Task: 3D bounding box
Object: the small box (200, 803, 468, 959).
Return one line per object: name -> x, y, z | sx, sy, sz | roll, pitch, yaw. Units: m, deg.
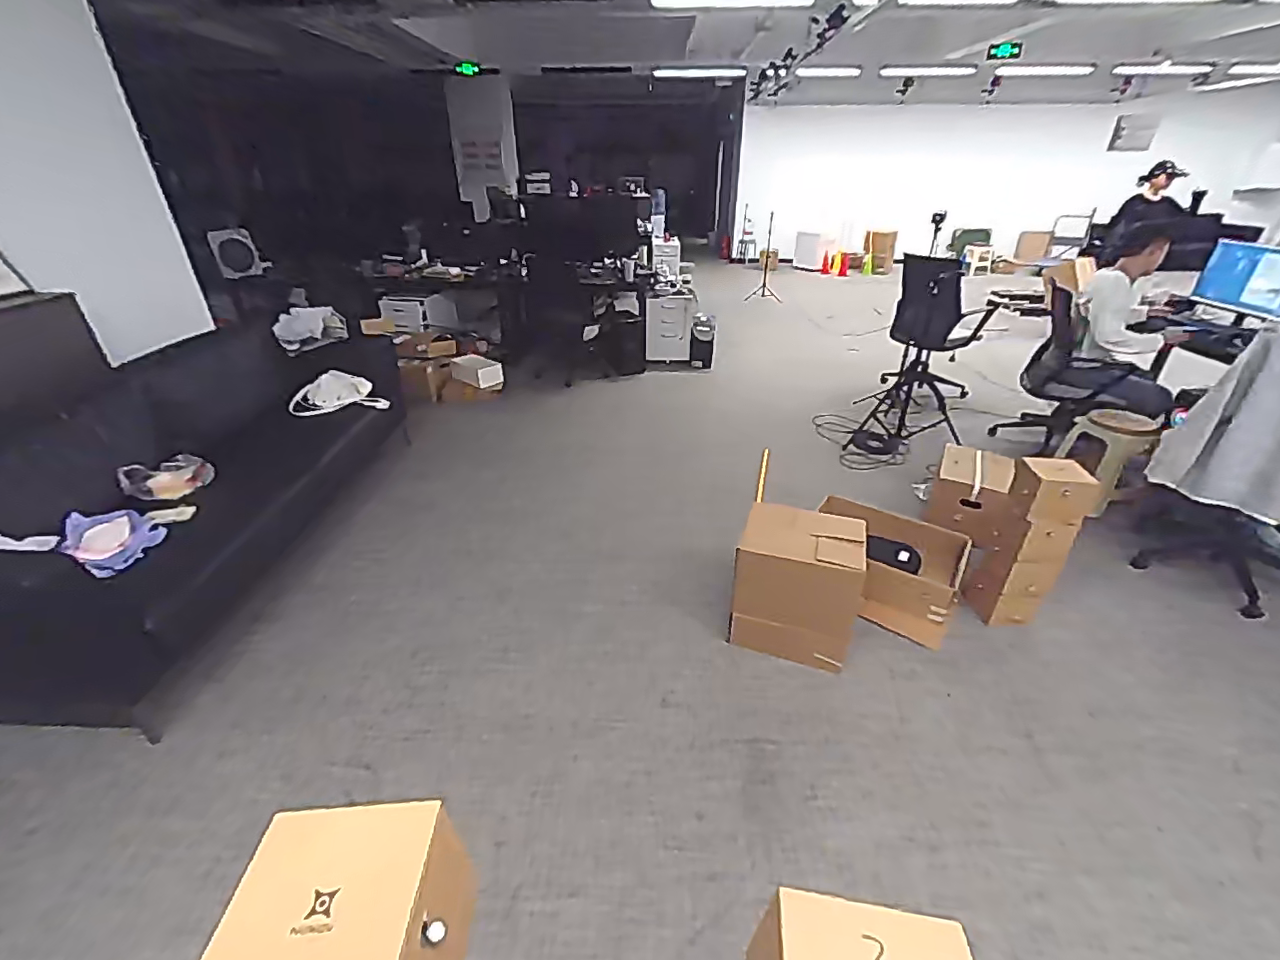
small box -> -0.269, 0.435, 0.501 | 0.168, 0.176, 0.179 | -3, 32, -1
